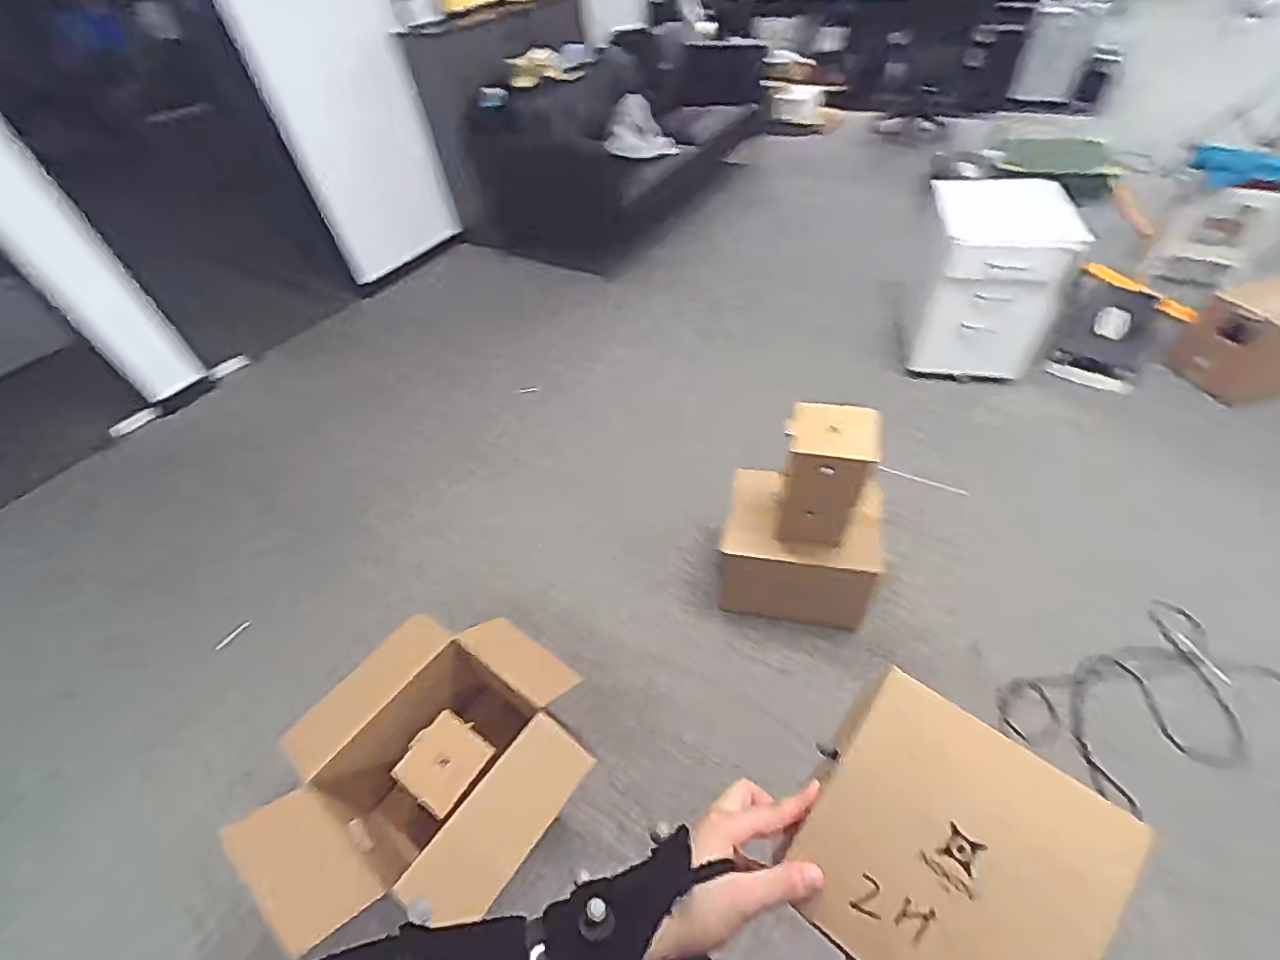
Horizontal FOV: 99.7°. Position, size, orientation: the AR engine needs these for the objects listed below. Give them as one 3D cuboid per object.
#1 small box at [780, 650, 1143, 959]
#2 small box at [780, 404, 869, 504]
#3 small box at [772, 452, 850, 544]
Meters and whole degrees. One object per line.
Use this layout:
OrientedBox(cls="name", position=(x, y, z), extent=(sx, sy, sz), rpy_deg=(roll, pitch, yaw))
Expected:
OrientedBox(cls="small box", position=(0.225, 0.265, 0.427), extent=(0.168, 0.176, 0.179), rpy_deg=(31, 77, 26))
OrientedBox(cls="small box", position=(0.434, -0.059, 1.280), extent=(0.179, 0.176, 0.168), rpy_deg=(6, 50, 15))
OrientedBox(cls="small box", position=(0.439, 0.049, 1.403), extent=(0.179, 0.176, 0.168), rpy_deg=(6, 49, 14))
